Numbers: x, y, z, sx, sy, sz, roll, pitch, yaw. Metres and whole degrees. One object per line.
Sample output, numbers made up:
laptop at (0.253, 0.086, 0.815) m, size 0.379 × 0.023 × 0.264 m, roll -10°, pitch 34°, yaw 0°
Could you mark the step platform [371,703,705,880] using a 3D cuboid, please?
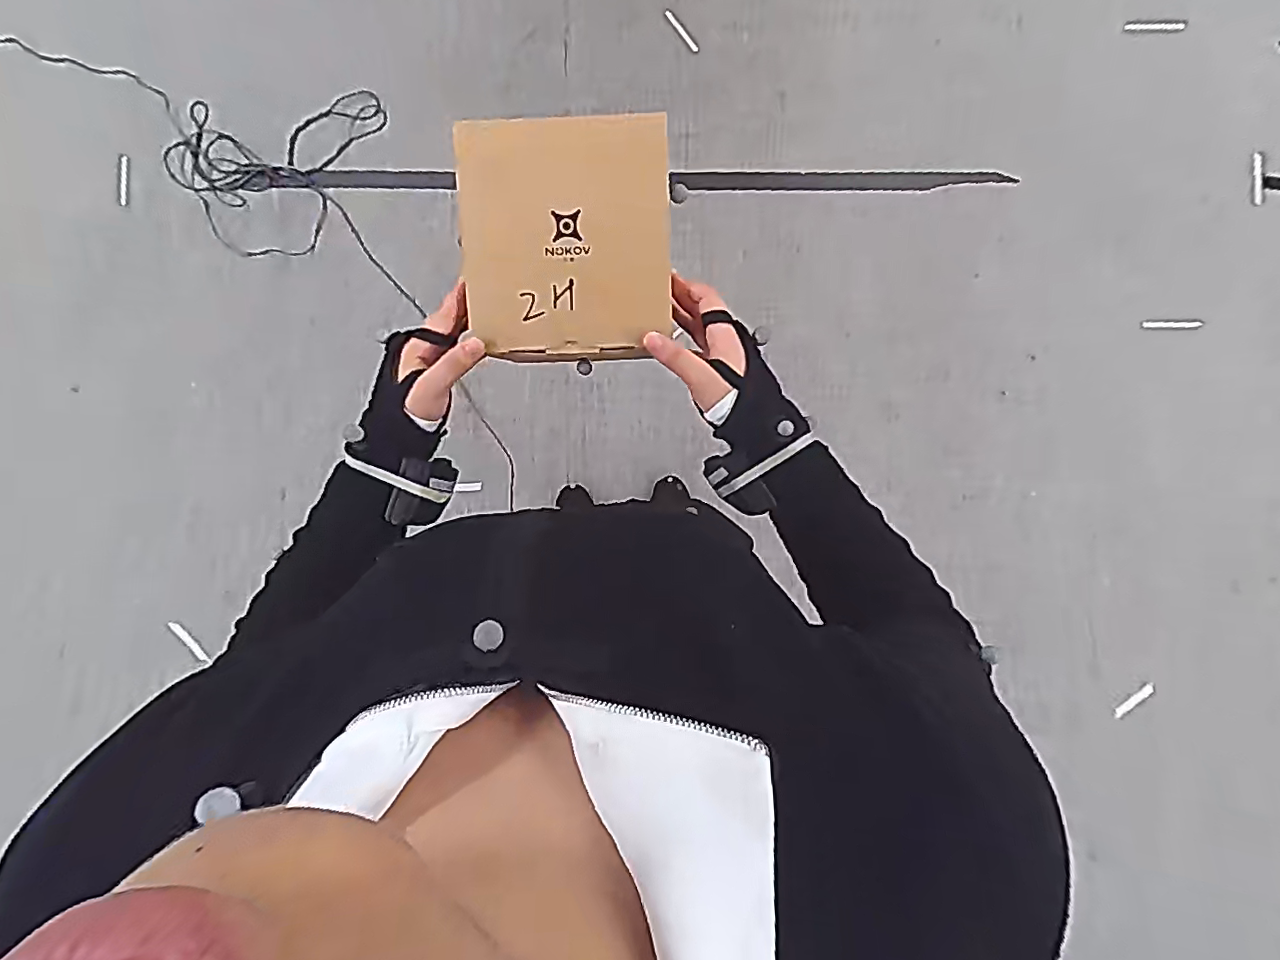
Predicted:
step platform at (-0.206, 0.665, 1.187) m, size 0.684 × 0.204 × 0.286 m, roll -2°, pitch 90°, yaw 2°
